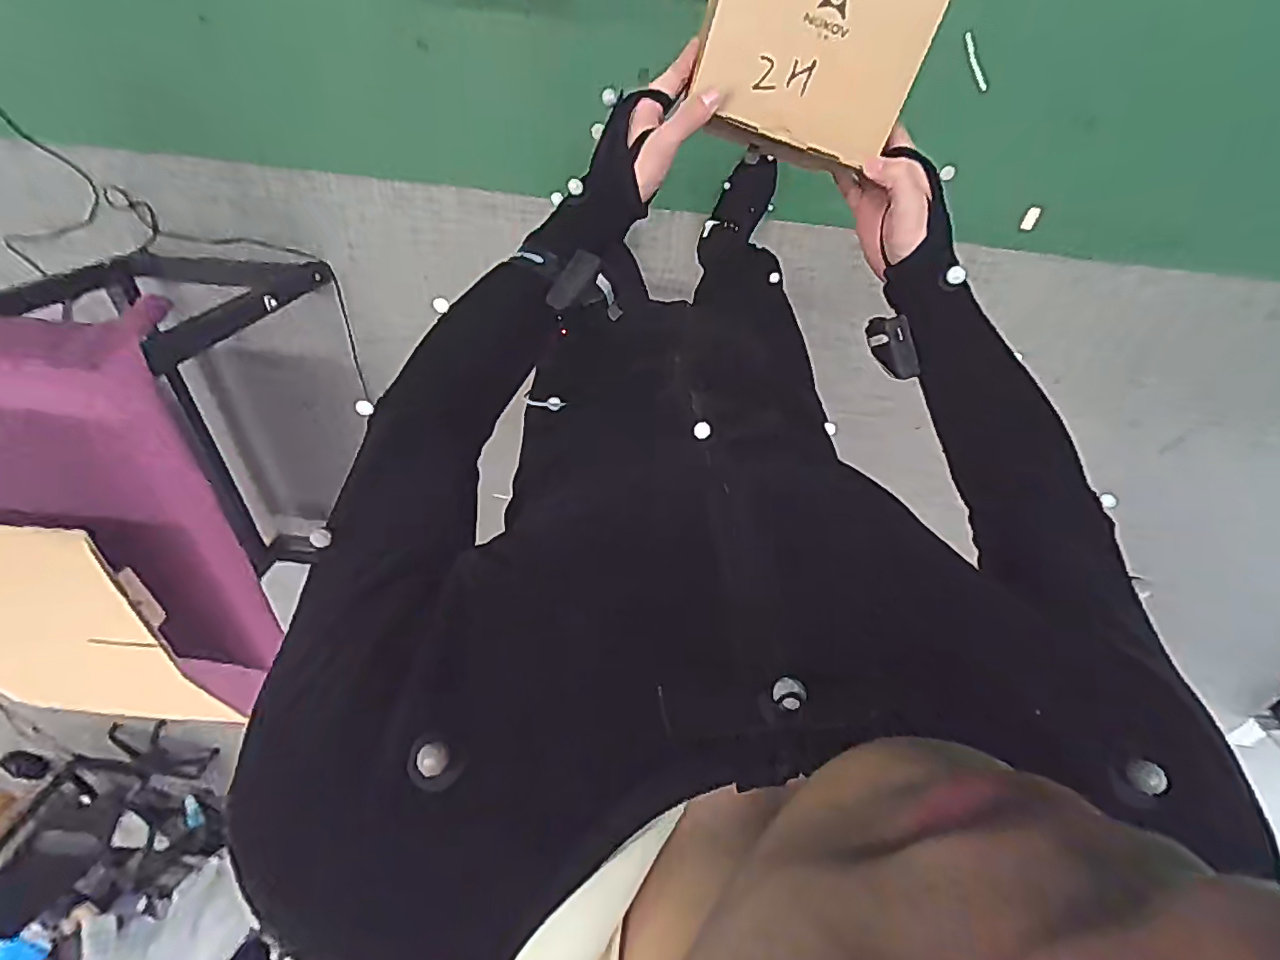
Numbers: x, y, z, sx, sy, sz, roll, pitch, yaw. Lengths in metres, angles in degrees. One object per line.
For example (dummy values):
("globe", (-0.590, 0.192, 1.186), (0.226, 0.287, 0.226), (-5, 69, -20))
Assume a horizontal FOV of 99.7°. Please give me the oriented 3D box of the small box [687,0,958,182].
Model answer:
("small box", (0.146, -0.385, 0.477), (0.168, 0.176, 0.179), (14, 119, -8))
